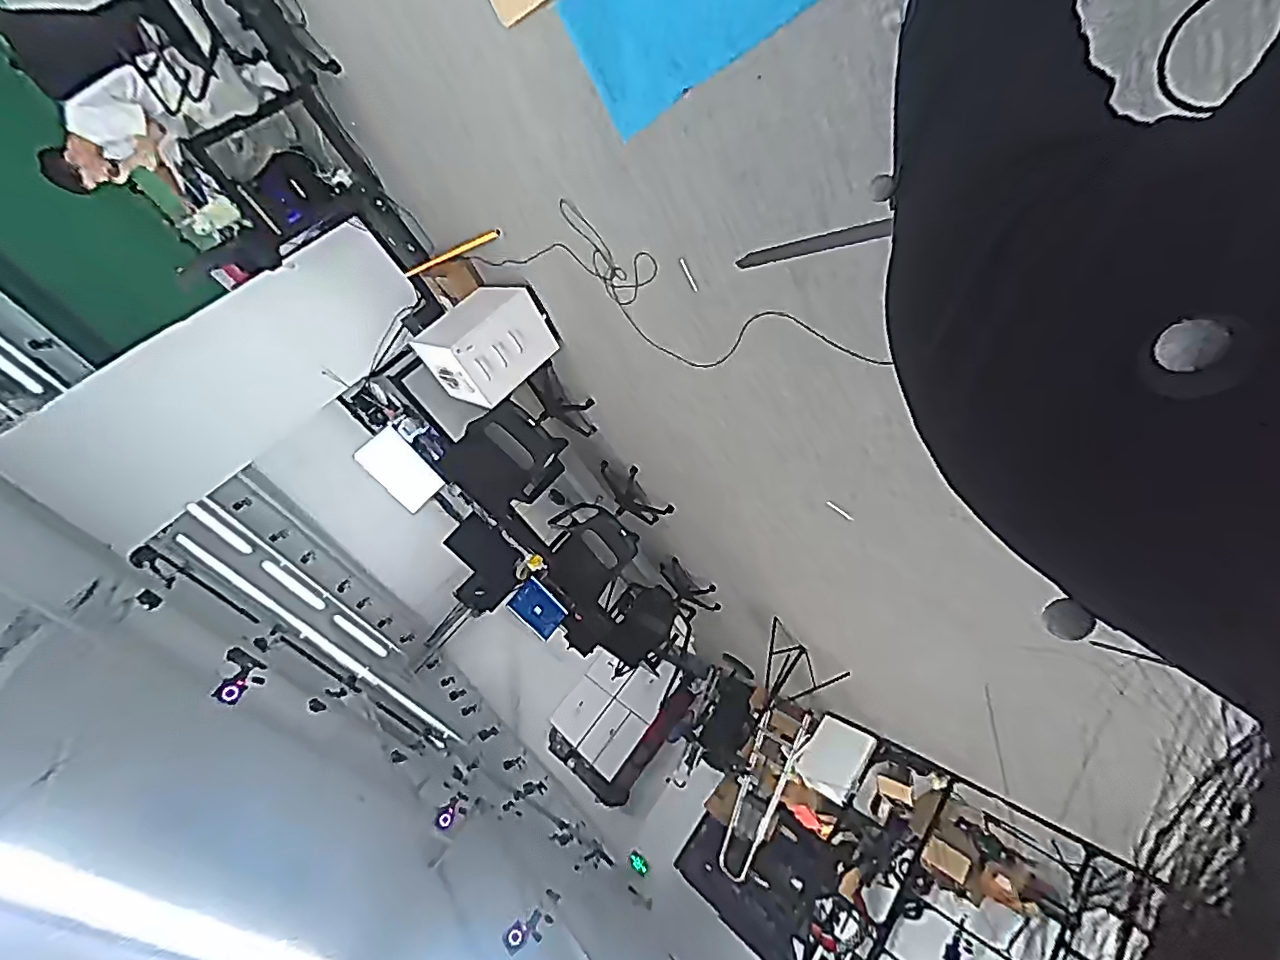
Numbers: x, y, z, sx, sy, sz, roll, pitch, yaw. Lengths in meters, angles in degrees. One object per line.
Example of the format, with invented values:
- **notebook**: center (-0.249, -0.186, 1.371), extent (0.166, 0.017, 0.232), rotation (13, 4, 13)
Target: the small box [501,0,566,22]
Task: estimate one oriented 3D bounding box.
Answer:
- **small box**: center (-0.056, -0.517, 0.428), extent (0.168, 0.176, 0.179), rotation (18, 150, 45)
